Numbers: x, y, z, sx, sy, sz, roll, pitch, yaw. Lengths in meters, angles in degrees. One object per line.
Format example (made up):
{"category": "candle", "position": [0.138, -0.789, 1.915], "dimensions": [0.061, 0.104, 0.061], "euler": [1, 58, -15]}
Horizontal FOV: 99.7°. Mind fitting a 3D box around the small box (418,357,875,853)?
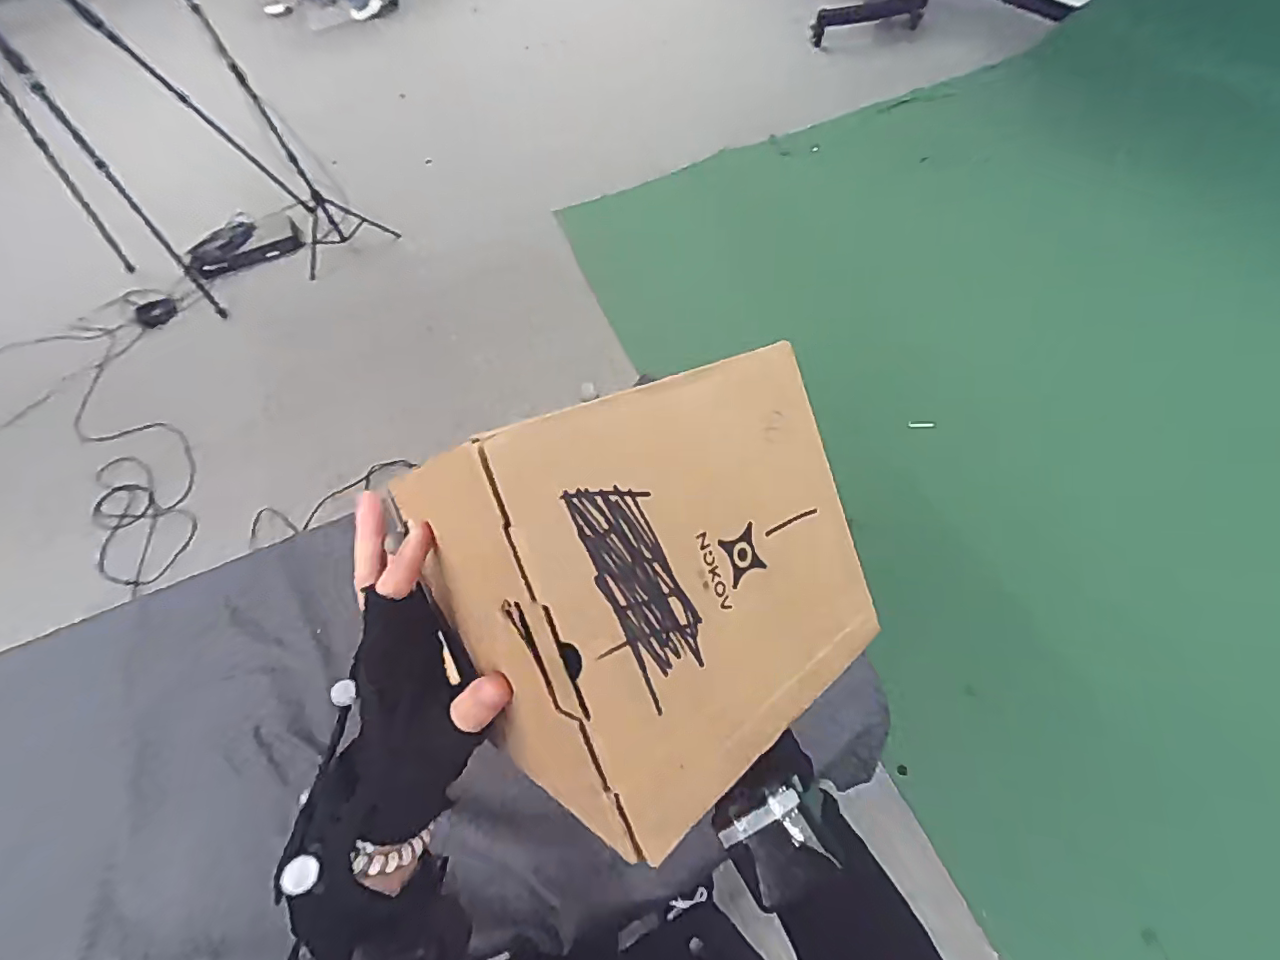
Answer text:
{"category": "small box", "position": [-0.008, 0.048, 0.307], "dimensions": [0.179, 0.176, 0.168], "euler": [-23, 97, -35]}
